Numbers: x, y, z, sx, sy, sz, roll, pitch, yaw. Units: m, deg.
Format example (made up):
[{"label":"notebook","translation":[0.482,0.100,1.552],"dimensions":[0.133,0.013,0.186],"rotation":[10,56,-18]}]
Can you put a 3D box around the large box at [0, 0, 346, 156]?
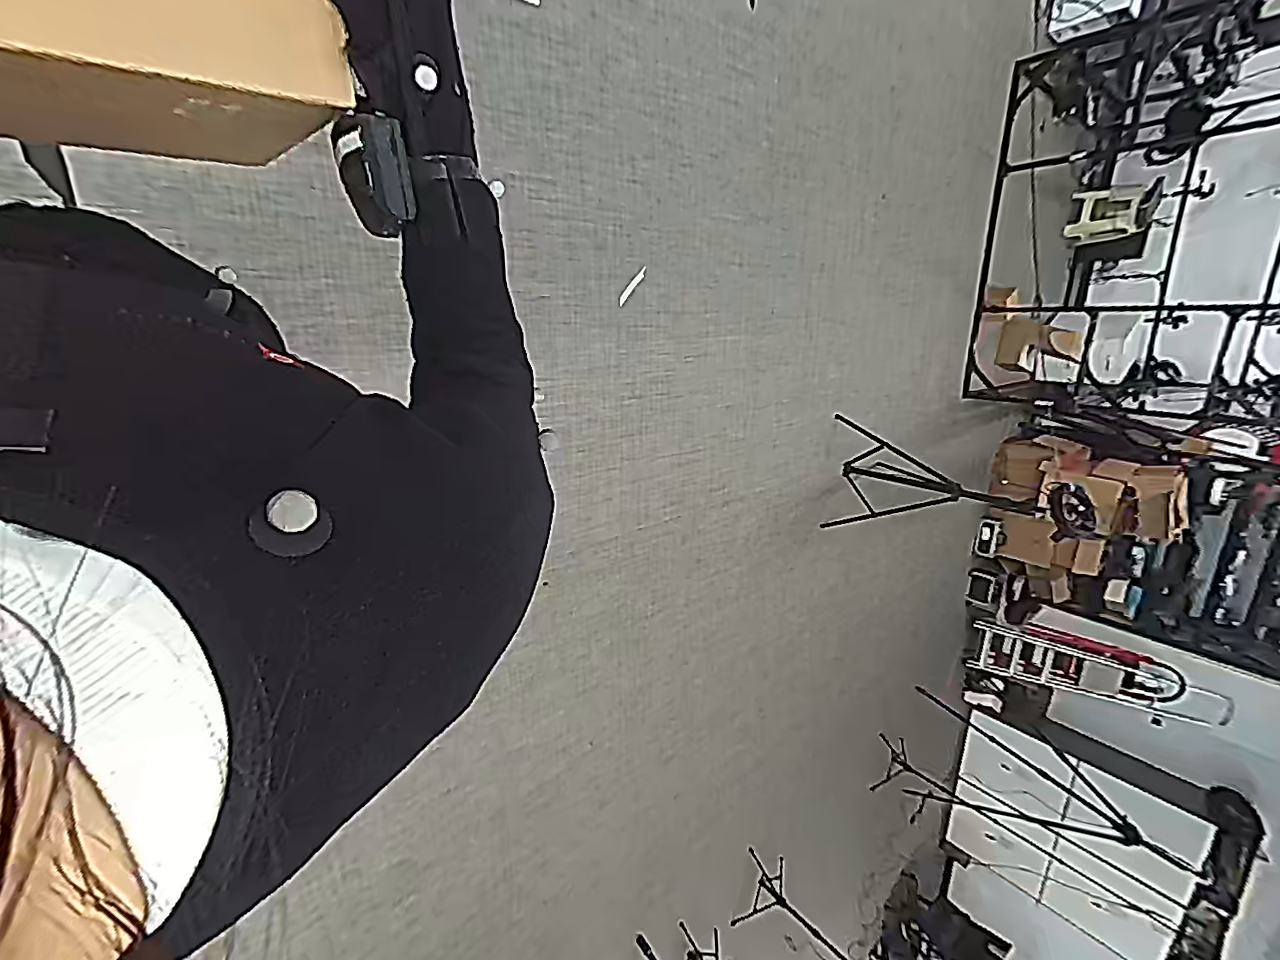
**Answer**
[{"label":"large box","translation":[-0.432,-0.374,0.265],"dimensions":[0.408,0.320,0.320],"rotation":[-18,120,-39]}]
